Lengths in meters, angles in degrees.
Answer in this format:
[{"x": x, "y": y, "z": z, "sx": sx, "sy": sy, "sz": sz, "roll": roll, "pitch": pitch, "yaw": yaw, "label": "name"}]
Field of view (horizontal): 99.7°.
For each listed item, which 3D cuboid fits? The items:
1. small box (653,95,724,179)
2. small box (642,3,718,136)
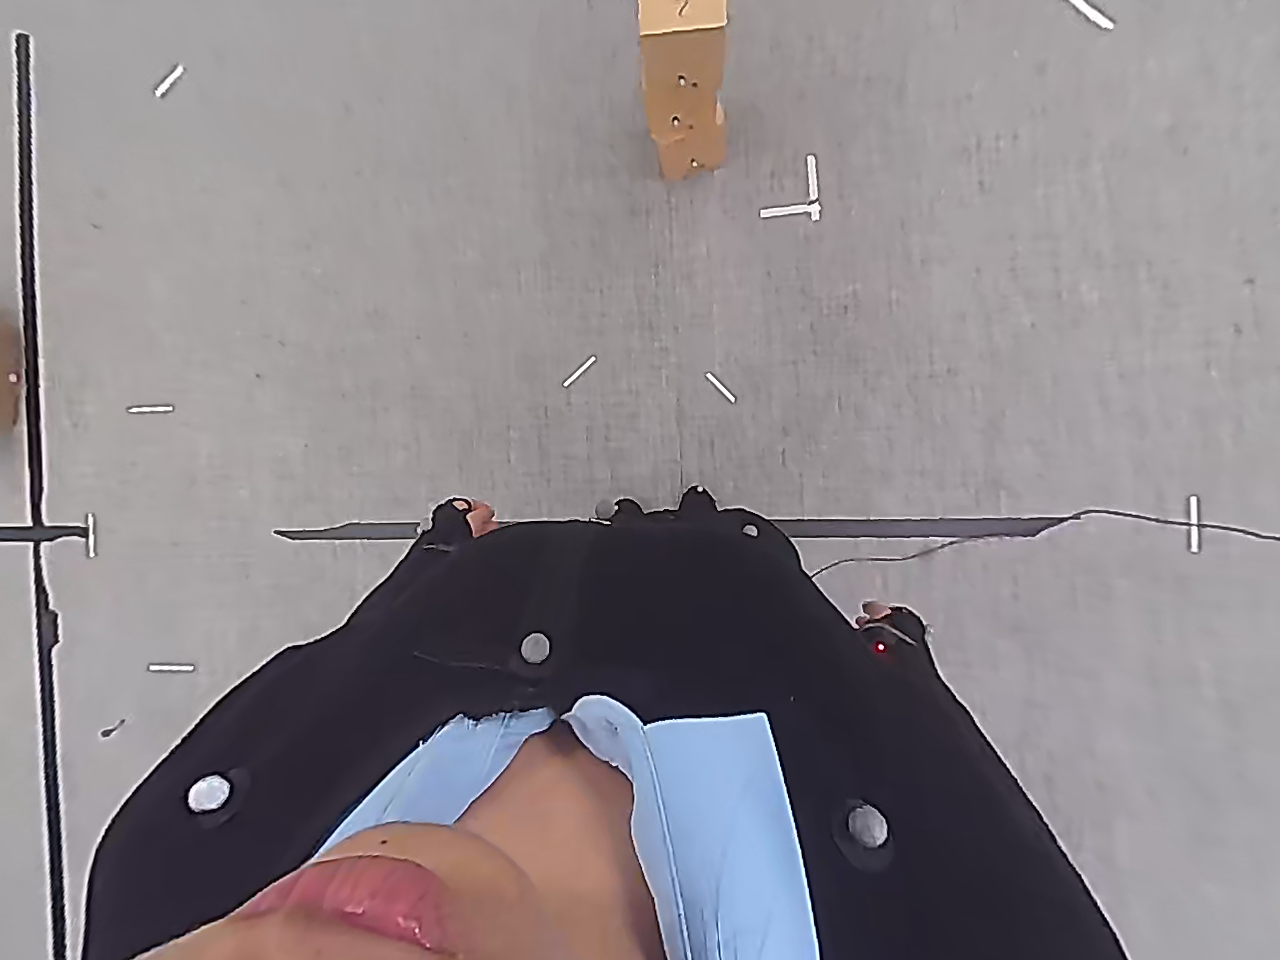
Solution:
[{"x": 0.117, "y": -0.928, "z": 1.405, "sx": 0.168, "sy": 0.176, "sz": 0.179, "roll": -14, "pitch": 89, "yaw": 7, "label": "small box"}, {"x": 0.092, "y": -0.935, "z": 1.244, "sx": 0.168, "sy": 0.176, "sz": 0.179, "roll": -1, "pitch": 90, "yaw": 6, "label": "small box"}]
